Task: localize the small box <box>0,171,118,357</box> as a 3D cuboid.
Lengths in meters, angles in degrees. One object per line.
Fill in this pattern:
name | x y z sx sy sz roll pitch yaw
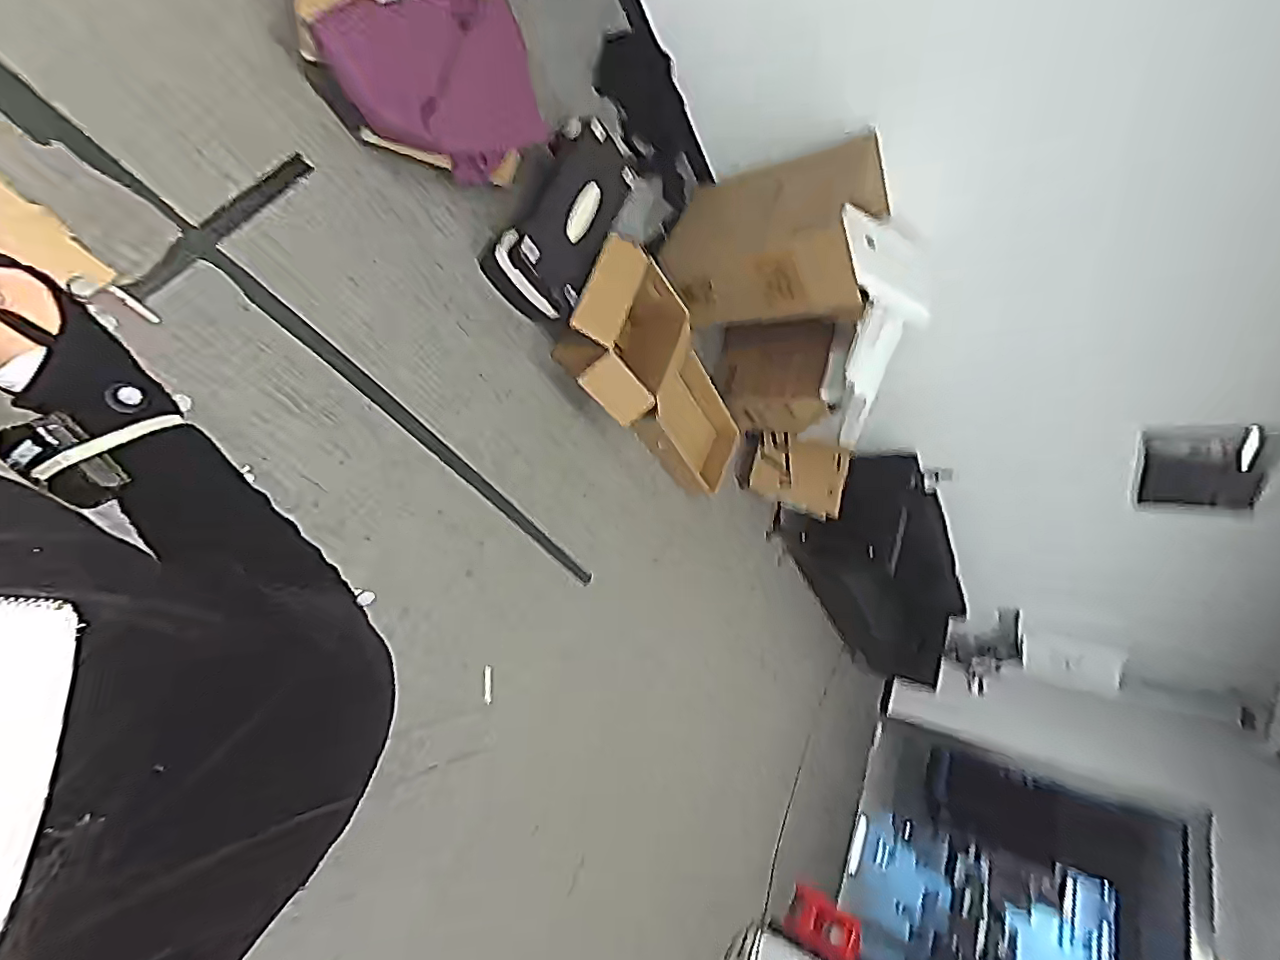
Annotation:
small box | -0.855 -0.277 0.706 0.179 0.176 0.168 -58 134 -28
